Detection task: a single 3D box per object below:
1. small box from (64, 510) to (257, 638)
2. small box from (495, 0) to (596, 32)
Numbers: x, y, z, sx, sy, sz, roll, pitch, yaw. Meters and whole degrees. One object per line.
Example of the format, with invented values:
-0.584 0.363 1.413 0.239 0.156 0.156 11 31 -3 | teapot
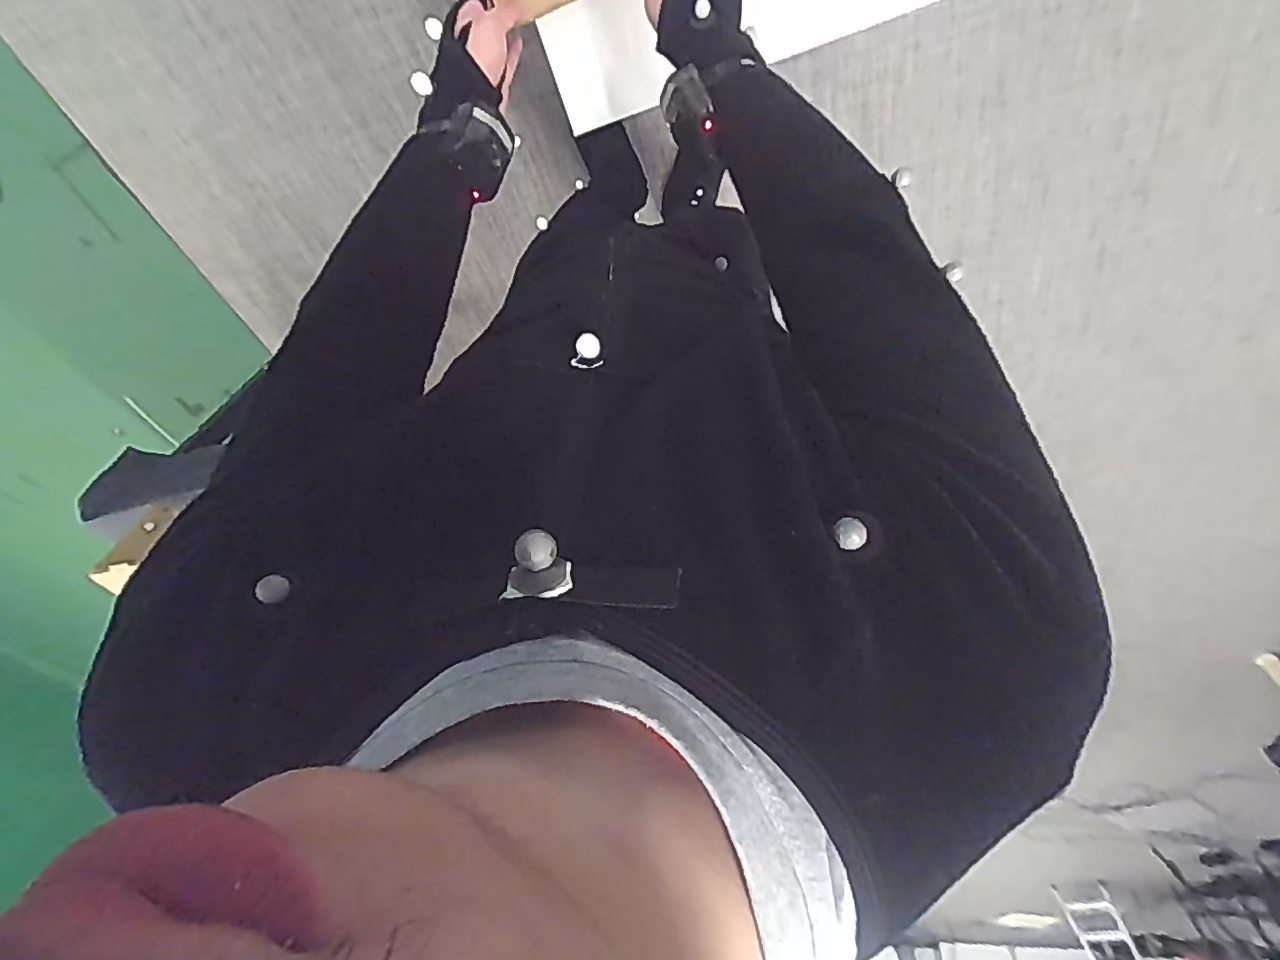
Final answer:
-0.895 0.173 1.030 0.168 0.176 0.179 -11 131 13 | small box
-0.065 -0.549 0.495 0.179 0.176 0.168 -12 130 15 | small box
